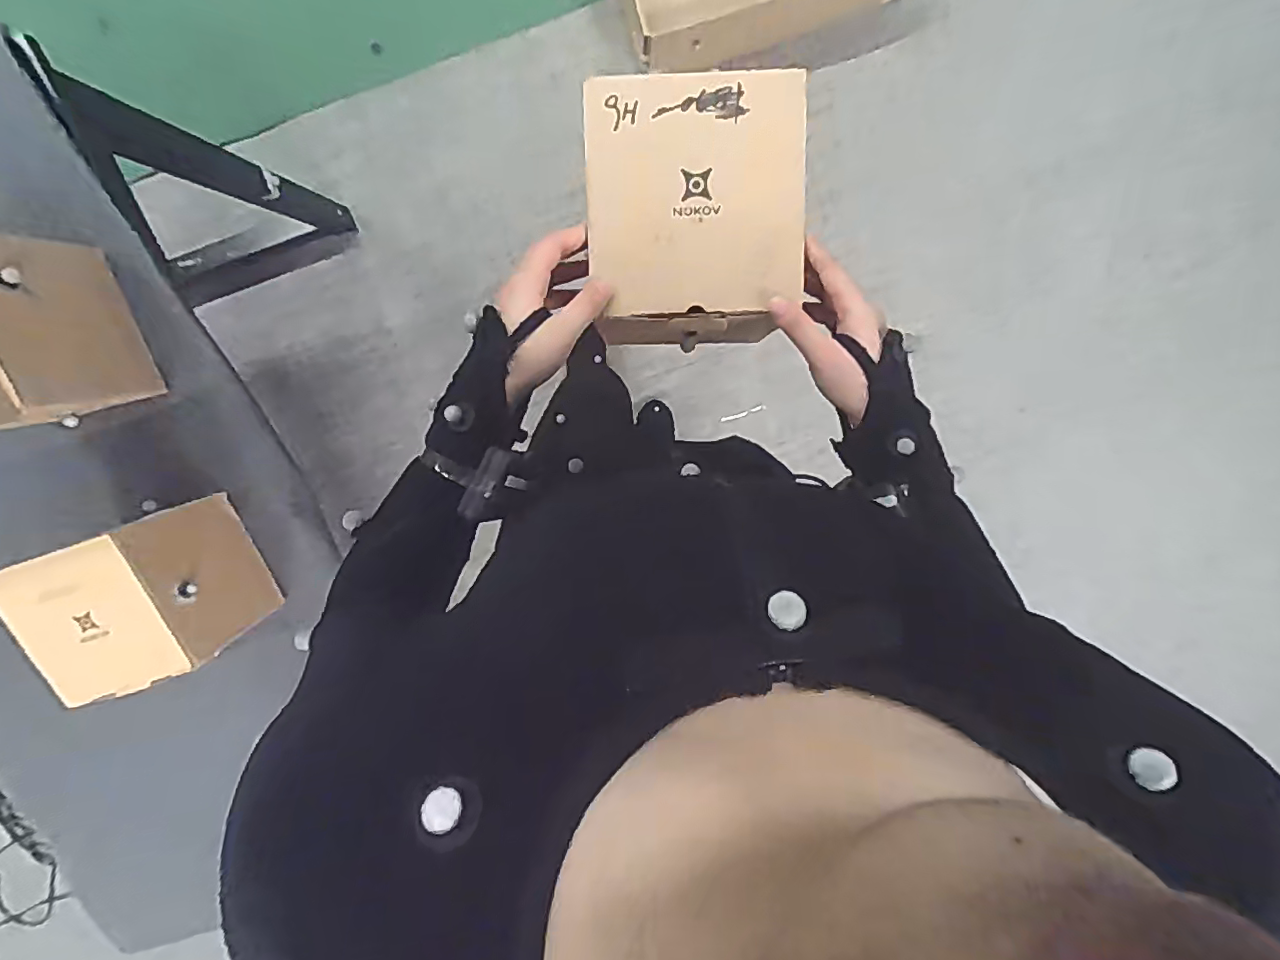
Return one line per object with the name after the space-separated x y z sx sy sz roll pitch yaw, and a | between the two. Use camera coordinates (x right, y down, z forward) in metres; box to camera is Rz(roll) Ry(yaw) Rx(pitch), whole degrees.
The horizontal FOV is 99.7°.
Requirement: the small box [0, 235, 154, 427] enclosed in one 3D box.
-0.688 -0.150 0.569 0.168 0.176 0.179 -13 106 3 | small box

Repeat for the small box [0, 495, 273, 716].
-0.596 0.140 0.652 0.168 0.176 0.179 -19 105 3 | small box

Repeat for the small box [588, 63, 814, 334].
0.046 -0.226 0.482 0.168 0.176 0.179 -1 98 0 | small box
